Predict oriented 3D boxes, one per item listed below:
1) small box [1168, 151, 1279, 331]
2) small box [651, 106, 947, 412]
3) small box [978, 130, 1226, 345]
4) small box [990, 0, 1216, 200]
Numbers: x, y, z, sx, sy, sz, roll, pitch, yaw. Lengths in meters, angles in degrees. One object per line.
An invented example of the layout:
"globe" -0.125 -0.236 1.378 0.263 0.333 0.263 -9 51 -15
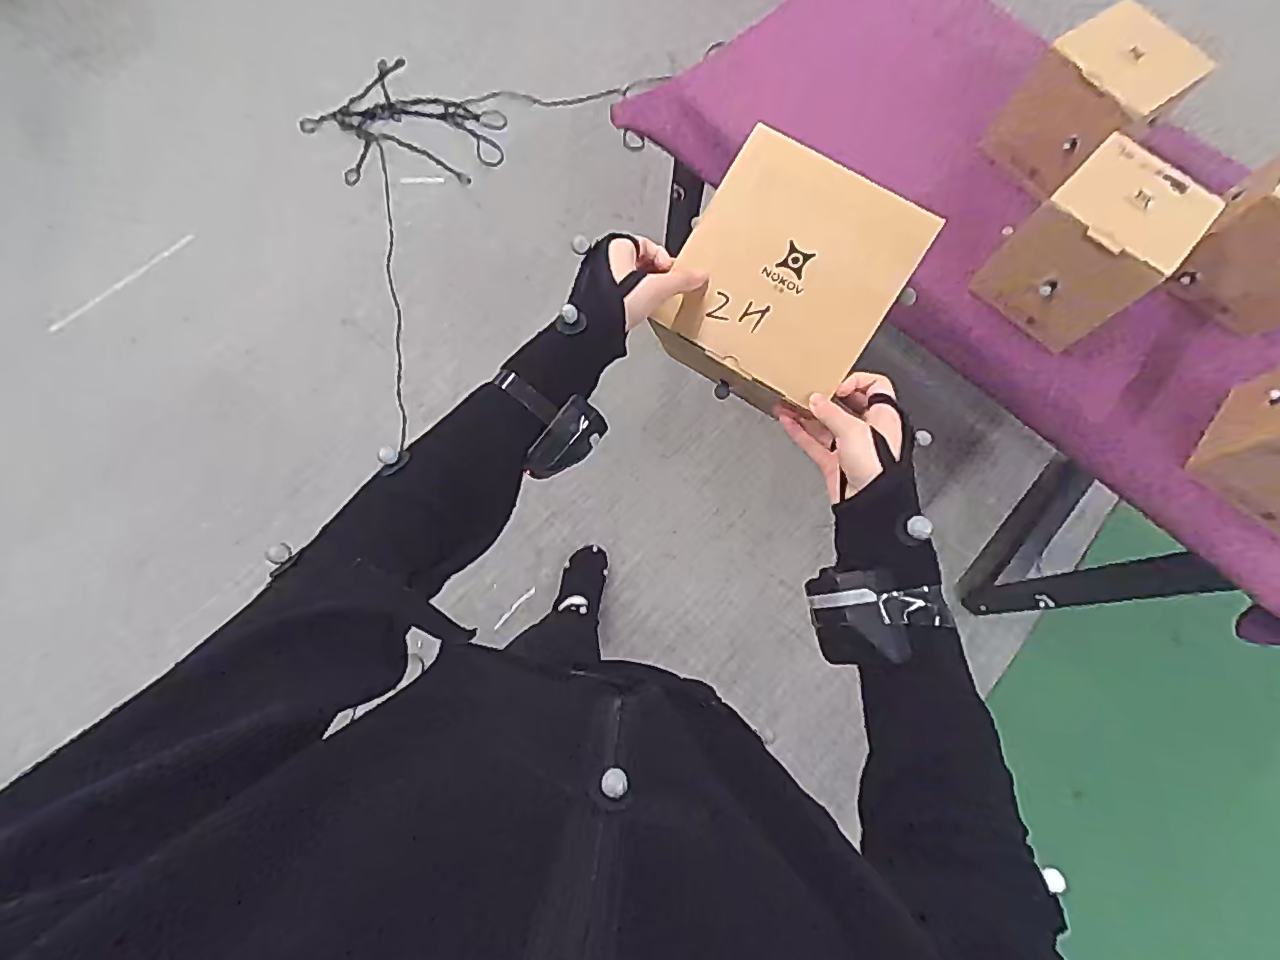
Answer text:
"small box" 0.915 -0.349 0.769 0.168 0.176 0.179 42 74 10
"small box" 0.131 -0.180 0.500 0.168 0.176 0.179 33 98 7
"small box" 0.615 -0.323 0.749 0.179 0.176 0.168 -43 79 -14
"small box" 0.687 -0.573 0.833 0.179 0.176 0.168 -34 78 -12
